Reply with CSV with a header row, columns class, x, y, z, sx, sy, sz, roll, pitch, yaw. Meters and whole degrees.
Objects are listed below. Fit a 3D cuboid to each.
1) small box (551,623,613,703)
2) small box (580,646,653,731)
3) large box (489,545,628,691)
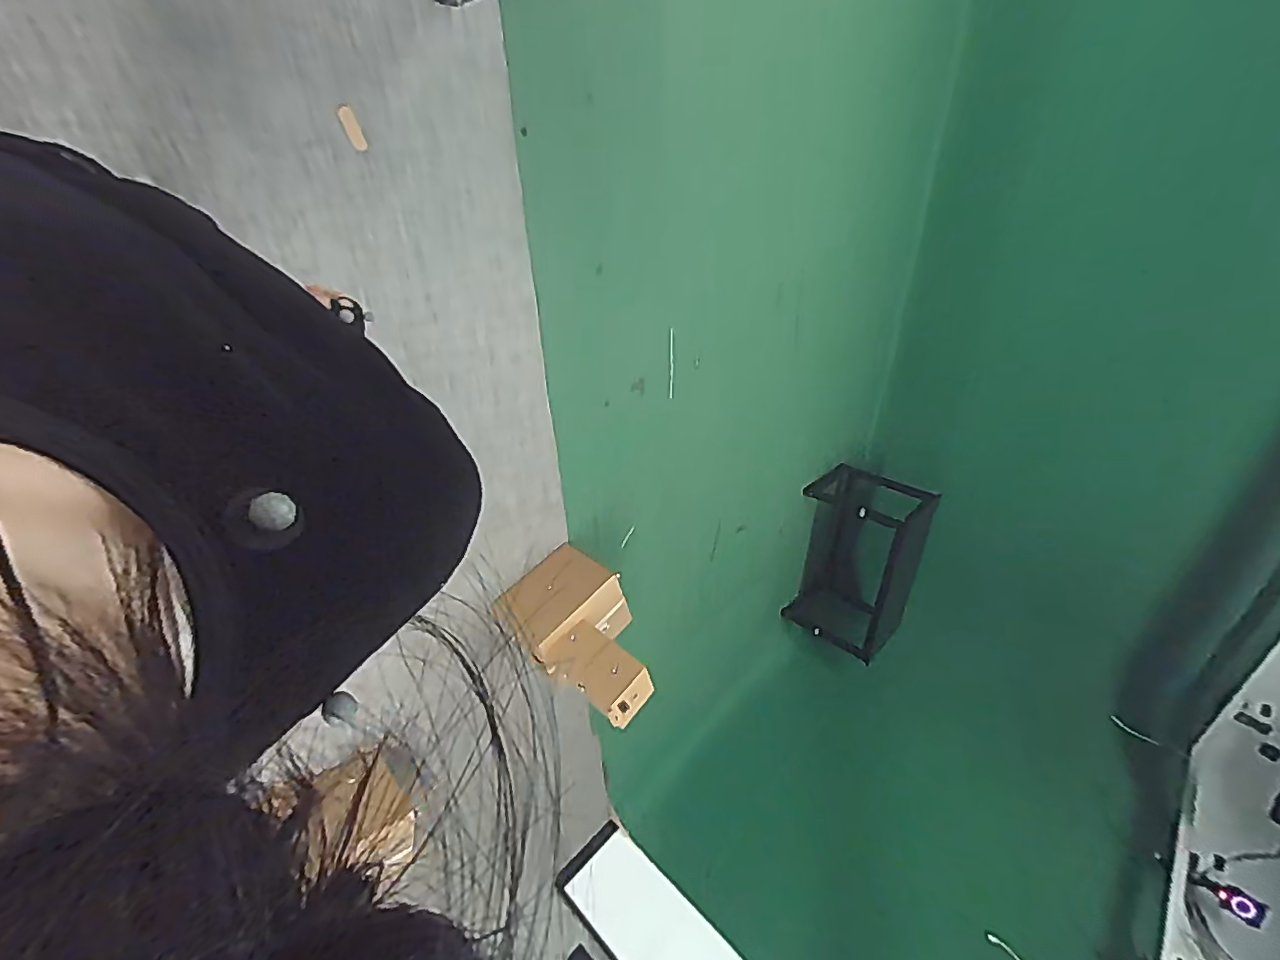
class,x,y,z,sx,sy,sz,roll,pitch,yaw
small box,-0.203,0.657,1.961,0.179,0.176,0.168,-37,134,-30
small box,-0.086,0.711,1.858,0.179,0.176,0.168,-42,136,-29
large box,-0.318,0.540,2.162,0.408,0.320,0.320,-42,137,-28
